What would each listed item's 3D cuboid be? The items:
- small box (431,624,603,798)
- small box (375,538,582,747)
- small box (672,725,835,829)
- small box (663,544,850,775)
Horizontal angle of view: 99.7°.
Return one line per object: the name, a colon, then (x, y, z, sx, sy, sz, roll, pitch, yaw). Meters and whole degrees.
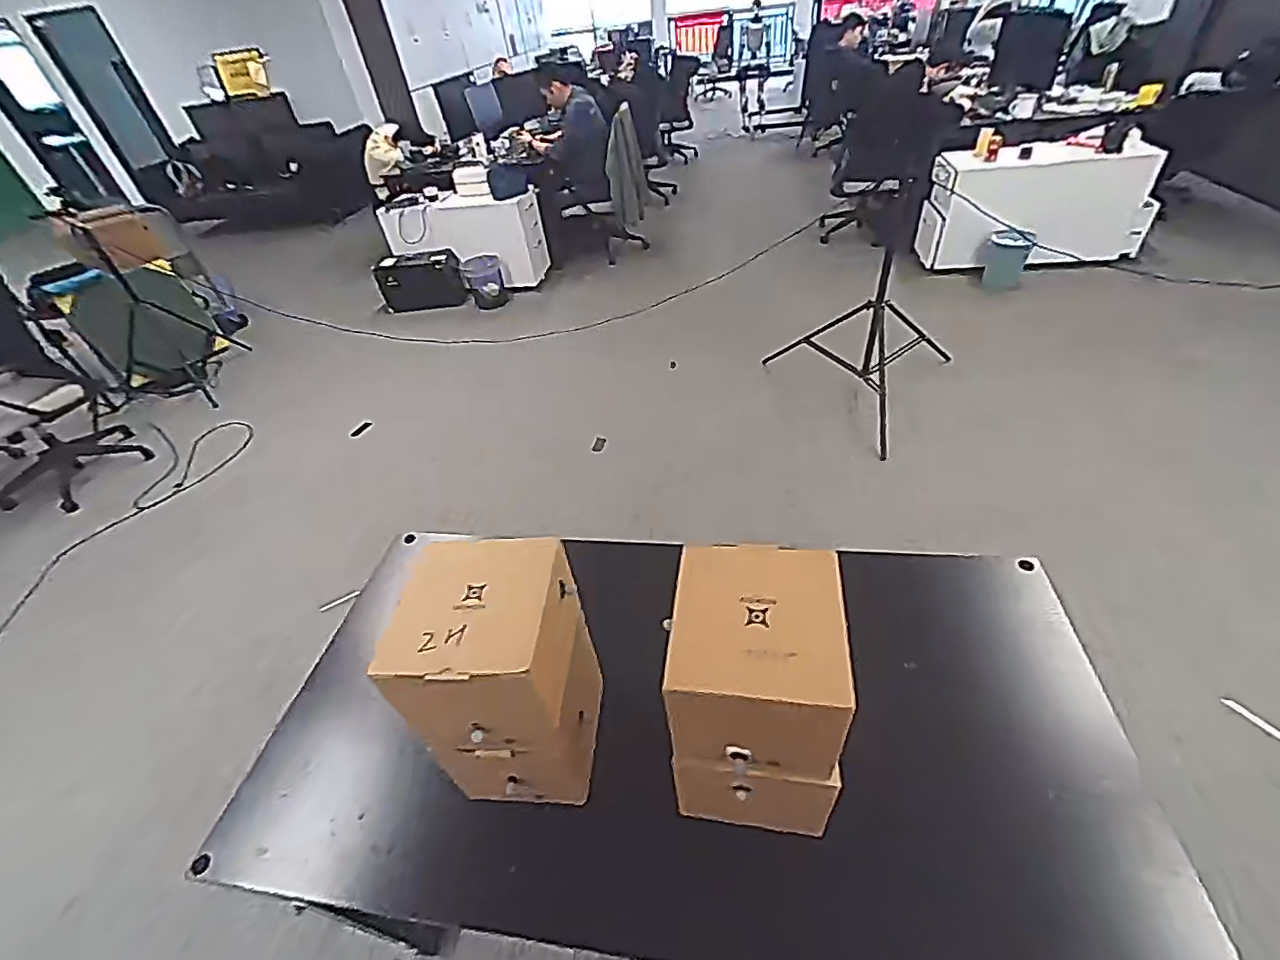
small box: (-0.152, 0.316, 0.743, 0.168, 0.176, 0.179, -2, 42, 8)
small box: (-0.169, 0.189, 0.637, 0.168, 0.176, 0.179, -3, 41, 7)
small box: (0.142, 0.318, 0.689, 0.179, 0.176, 0.168, 2, 42, 11)
small box: (0.123, 0.191, 0.589, 0.168, 0.176, 0.179, 0, 43, 12)
